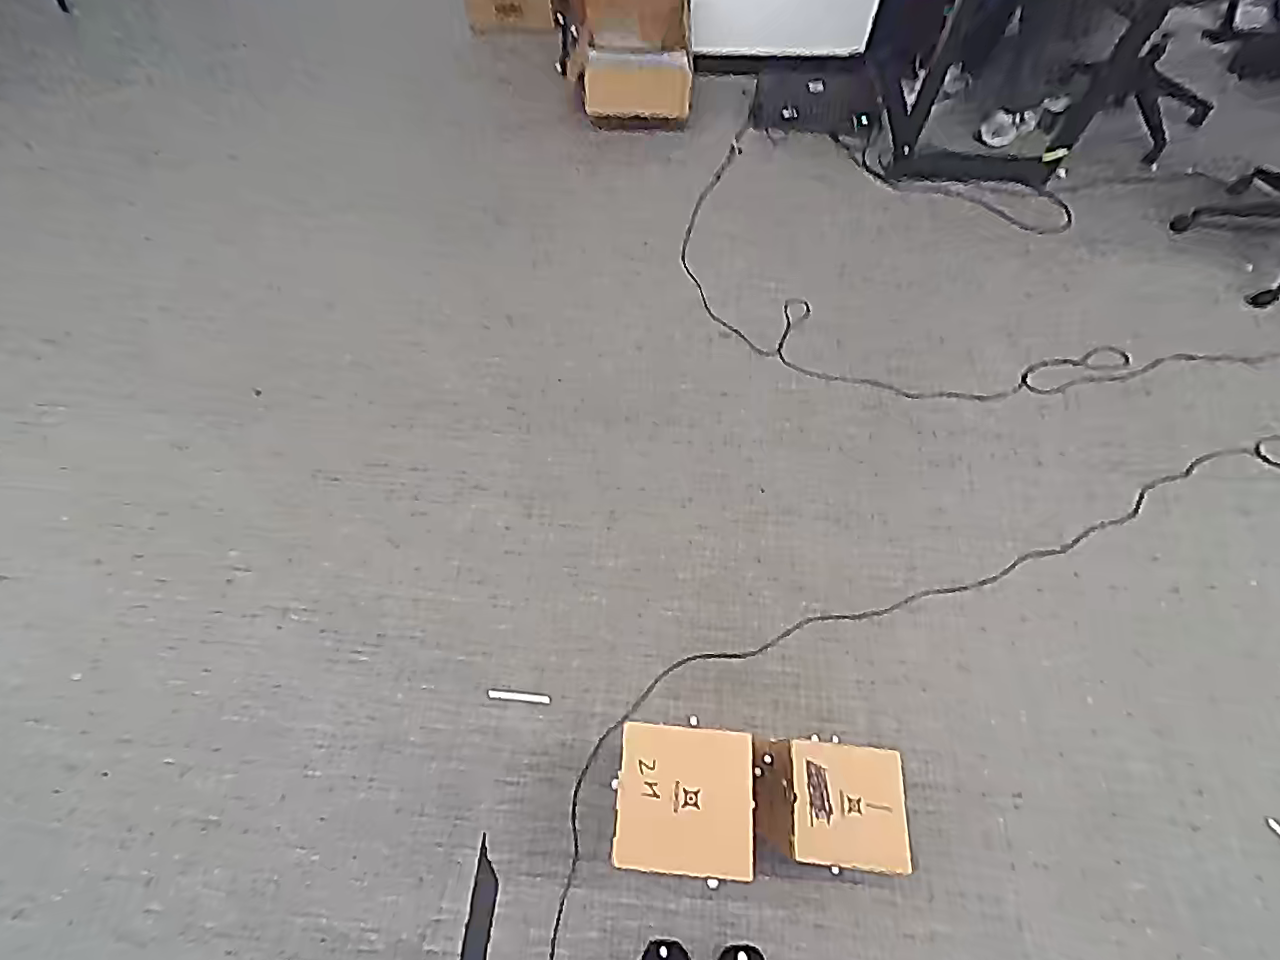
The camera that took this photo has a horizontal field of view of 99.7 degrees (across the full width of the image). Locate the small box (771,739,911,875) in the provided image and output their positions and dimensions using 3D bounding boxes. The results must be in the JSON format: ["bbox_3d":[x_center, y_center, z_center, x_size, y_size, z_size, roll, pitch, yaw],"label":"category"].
[{"bbox_3d":[0.321,0.537,0.904,0.179,0.176,0.168,6,63,2],"label":"small box"}]

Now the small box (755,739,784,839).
[{"bbox_3d":[0.323,0.610,1.052,0.179,0.176,0.168,6,63,3],"label":"small box"}]

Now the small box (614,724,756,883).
[{"bbox_3d":[0.064,0.447,0.768,0.179,0.176,0.168,3,63,4],"label":"small box"}]
